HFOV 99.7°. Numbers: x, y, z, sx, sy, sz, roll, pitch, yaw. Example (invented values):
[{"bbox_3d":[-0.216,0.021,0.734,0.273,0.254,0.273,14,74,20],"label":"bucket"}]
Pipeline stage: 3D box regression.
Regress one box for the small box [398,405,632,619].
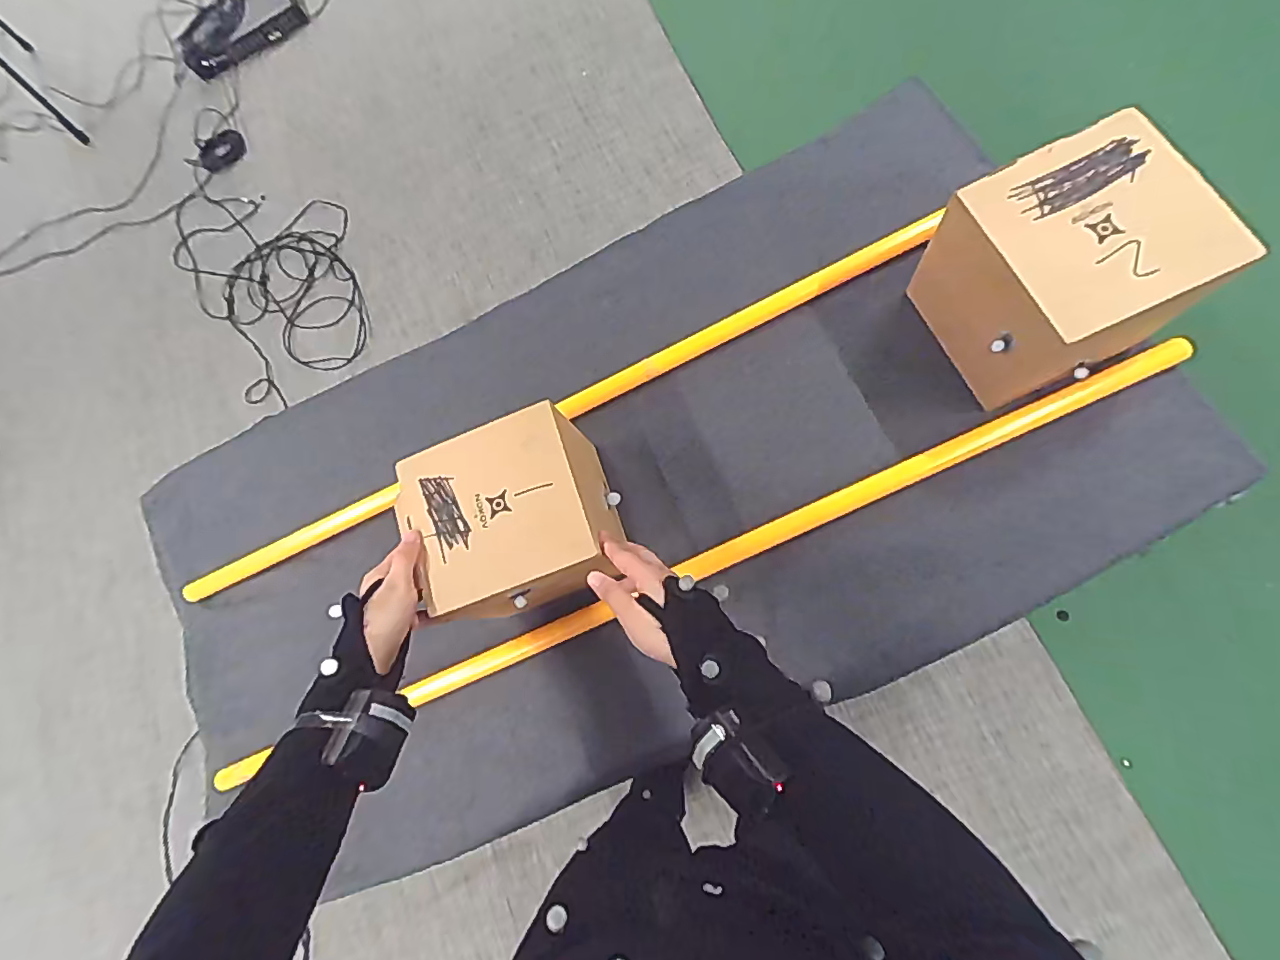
[{"bbox_3d":[-0.126,0.047,0.594,0.179,0.176,0.168,-22,74,6],"label":"small box"}]
